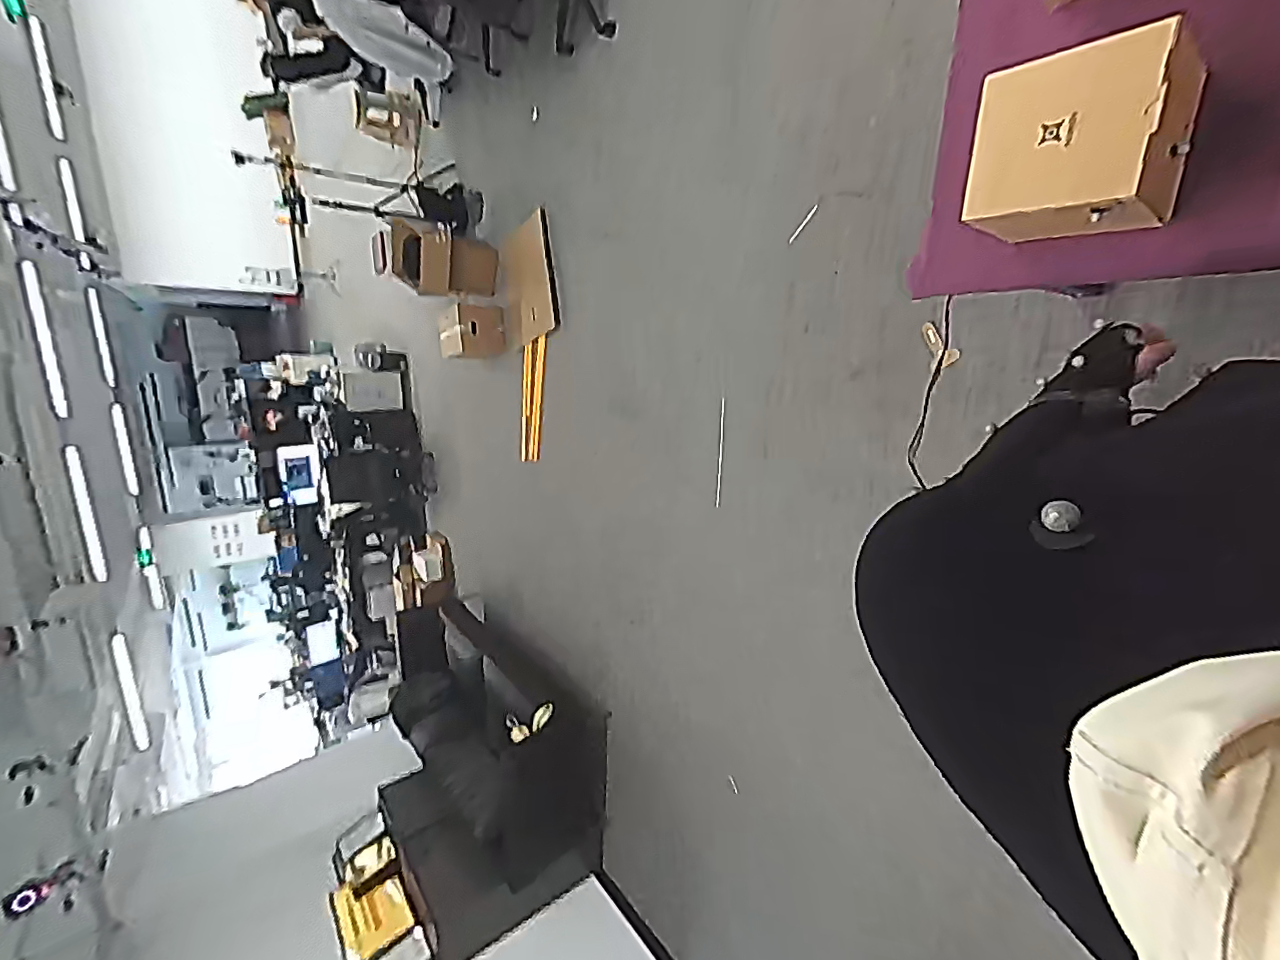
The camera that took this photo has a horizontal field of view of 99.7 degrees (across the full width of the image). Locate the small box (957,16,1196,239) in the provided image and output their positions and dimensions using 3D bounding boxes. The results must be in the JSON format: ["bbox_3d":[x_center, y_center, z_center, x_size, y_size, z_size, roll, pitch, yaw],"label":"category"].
[{"bbox_3d":[0.528,-0.403,0.660,0.179,0.176,0.168,18,110,49],"label":"small box"}]
